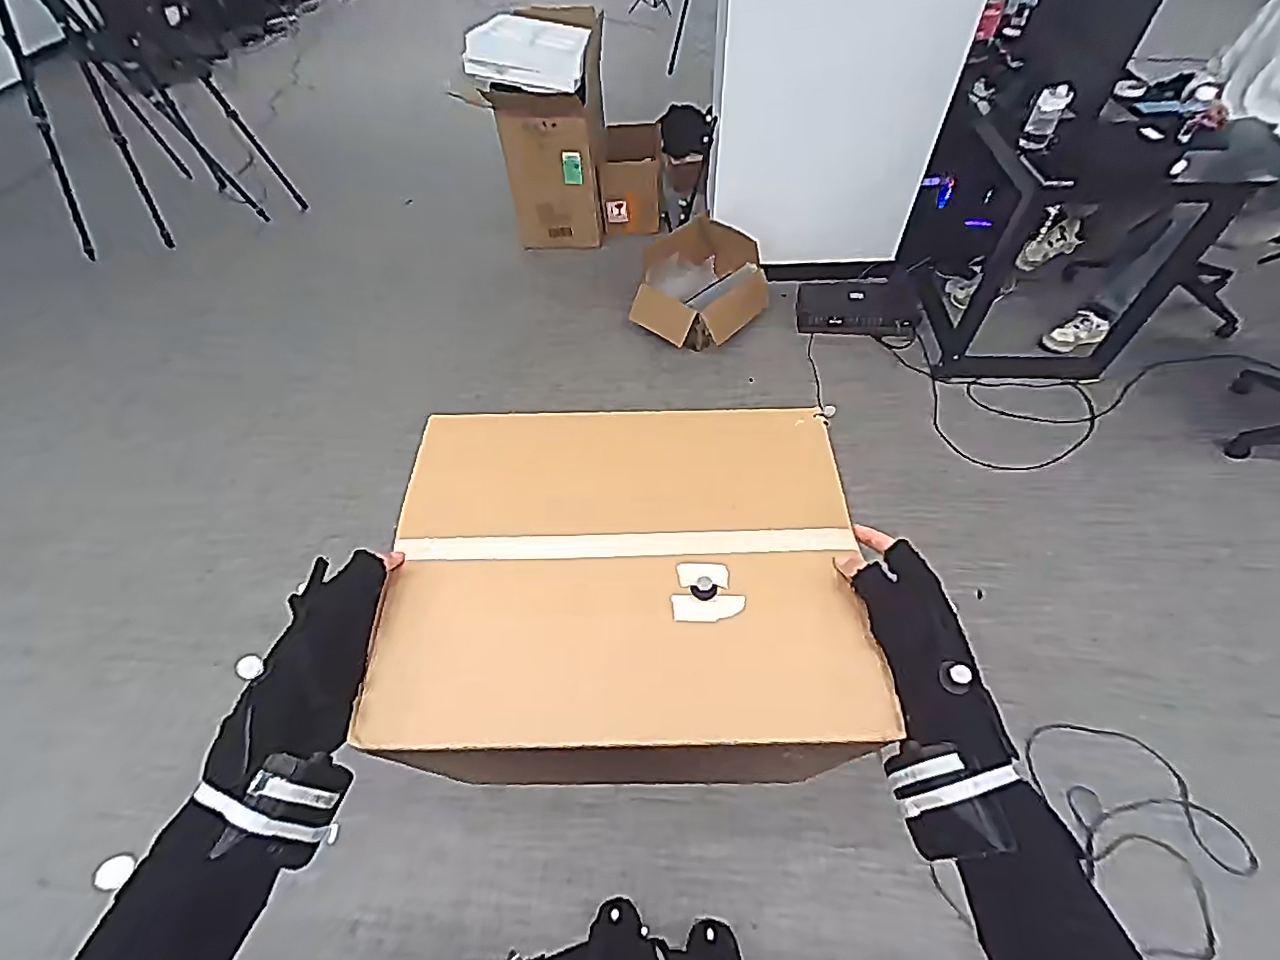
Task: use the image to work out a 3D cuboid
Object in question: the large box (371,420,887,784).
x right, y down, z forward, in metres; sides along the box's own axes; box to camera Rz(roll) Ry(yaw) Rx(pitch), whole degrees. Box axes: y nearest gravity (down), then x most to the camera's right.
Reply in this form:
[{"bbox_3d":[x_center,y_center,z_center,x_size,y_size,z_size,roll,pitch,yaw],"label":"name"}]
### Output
[{"bbox_3d":[-0.011,0.150,0.615,0.408,0.320,0.320,-1,56,0],"label":"large box"}]
